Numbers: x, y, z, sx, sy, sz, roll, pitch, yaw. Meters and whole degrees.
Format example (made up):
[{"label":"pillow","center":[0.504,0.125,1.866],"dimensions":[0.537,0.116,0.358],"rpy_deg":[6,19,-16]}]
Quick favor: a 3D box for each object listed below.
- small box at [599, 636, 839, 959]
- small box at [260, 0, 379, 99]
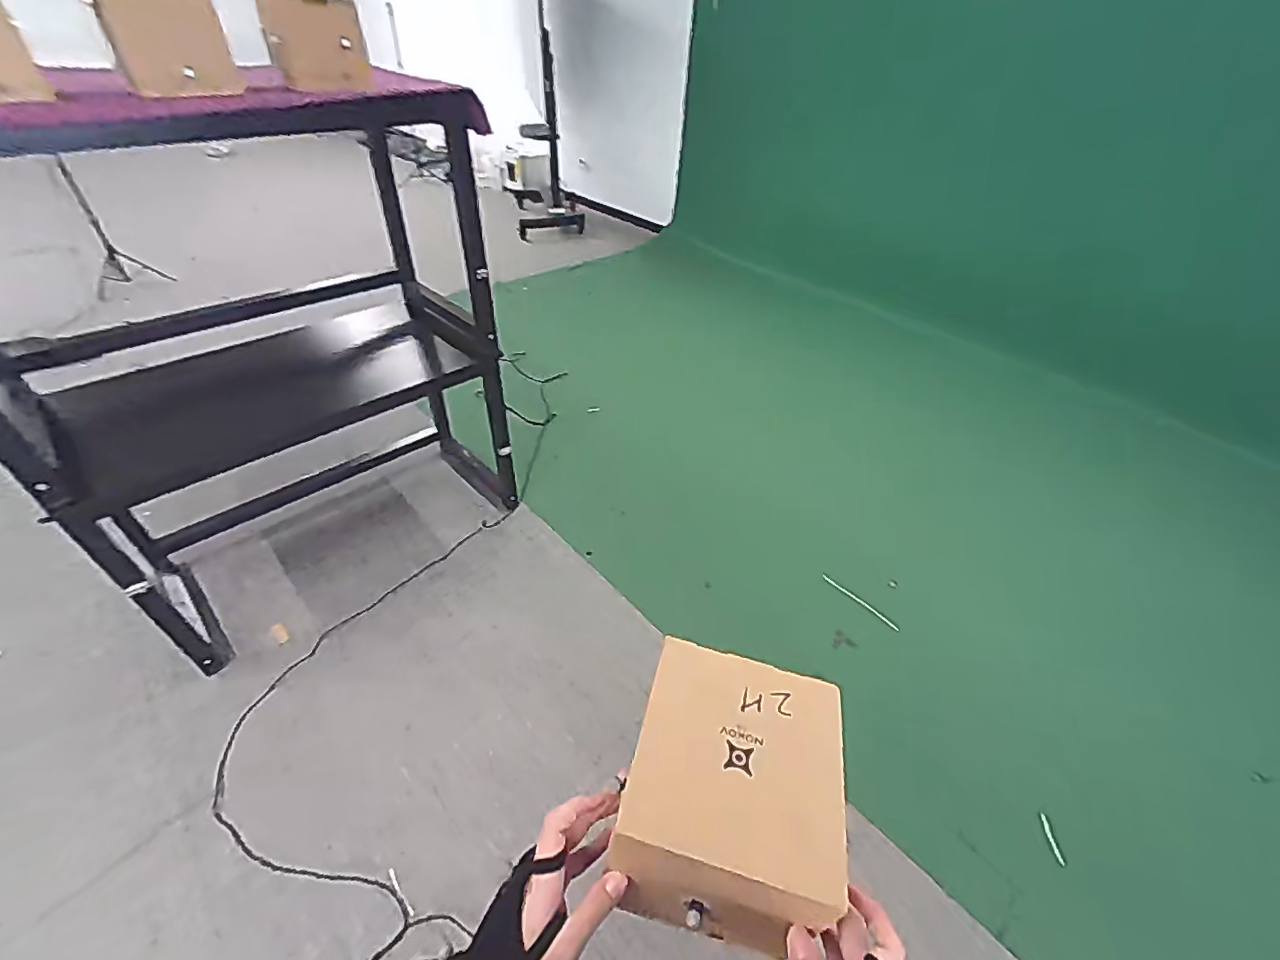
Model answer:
[{"label":"small box","center":[0.067,0.279,0.480],"dimensions":[0.168,0.176,0.179],"rpy_deg":[15,38,7]},{"label":"small box","center":[-0.720,-0.975,1.225],"dimensions":[0.168,0.176,0.179],"rpy_deg":[-27,49,-31]}]
